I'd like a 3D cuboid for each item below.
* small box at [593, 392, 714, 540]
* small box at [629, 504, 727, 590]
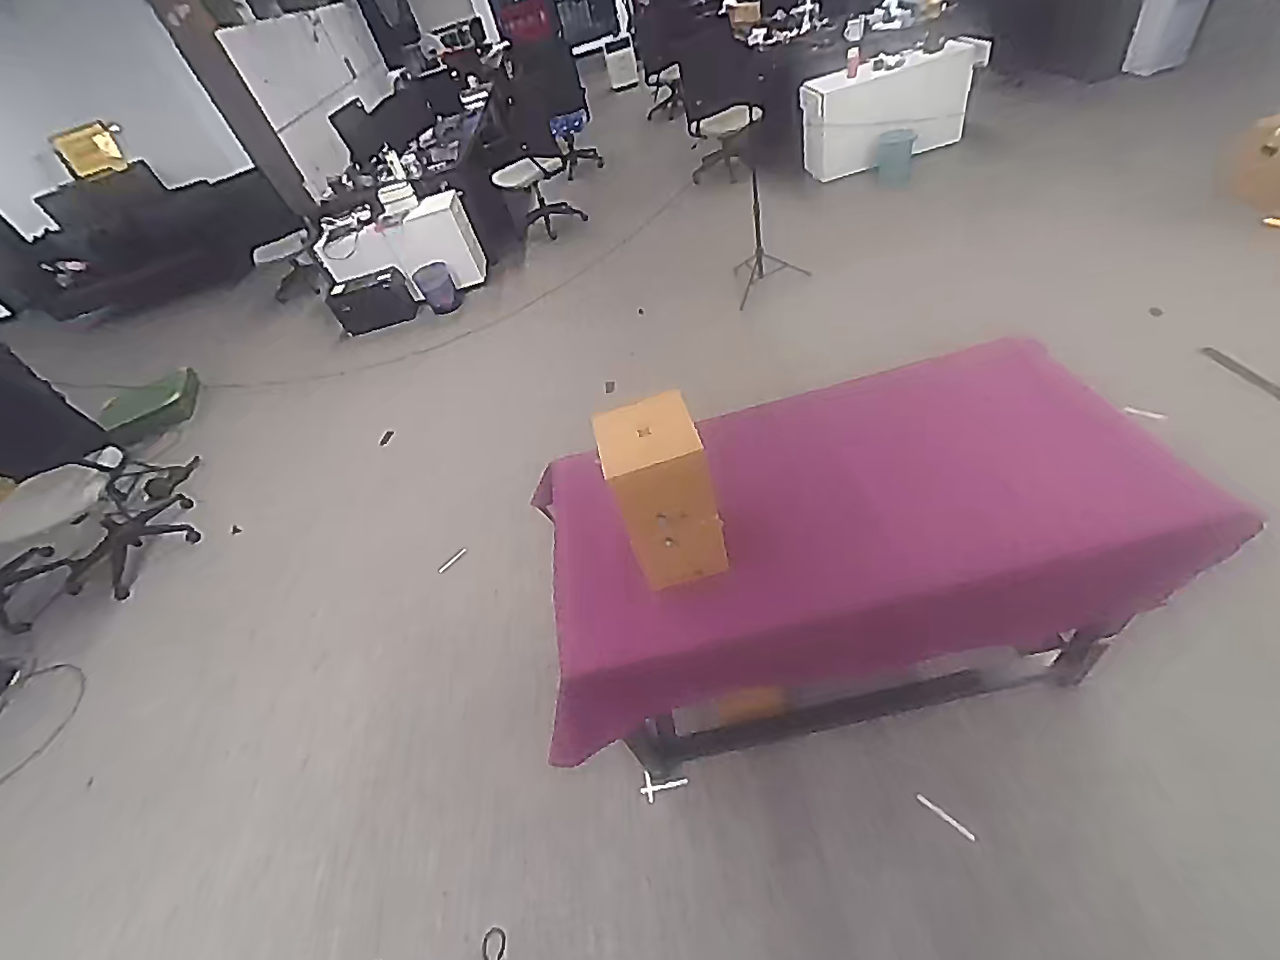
[{"bbox_3d":[0.024,-0.023,0.962,0.168,0.176,0.179,-17,44,1],"label":"small box"},{"bbox_3d":[0.066,0.088,1.075,0.168,0.176,0.179,-16,44,3],"label":"small box"}]
